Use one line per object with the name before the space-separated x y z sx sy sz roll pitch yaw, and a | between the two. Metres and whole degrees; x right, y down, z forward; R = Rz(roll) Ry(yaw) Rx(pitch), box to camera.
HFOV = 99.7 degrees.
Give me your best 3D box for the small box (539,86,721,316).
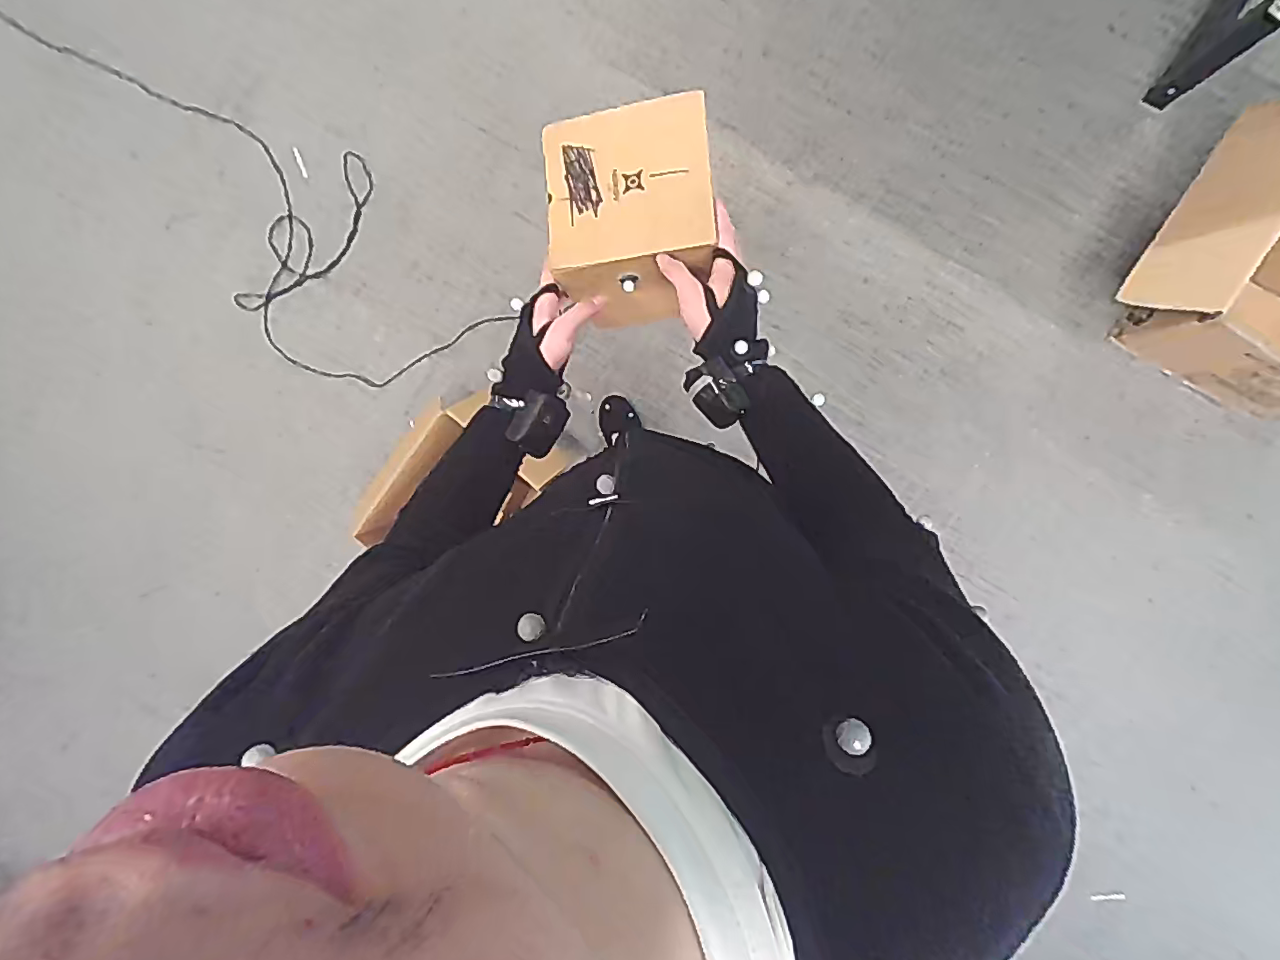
small box | -0.002 -0.299 0.621 0.179 0.176 0.168 -2 87 12
